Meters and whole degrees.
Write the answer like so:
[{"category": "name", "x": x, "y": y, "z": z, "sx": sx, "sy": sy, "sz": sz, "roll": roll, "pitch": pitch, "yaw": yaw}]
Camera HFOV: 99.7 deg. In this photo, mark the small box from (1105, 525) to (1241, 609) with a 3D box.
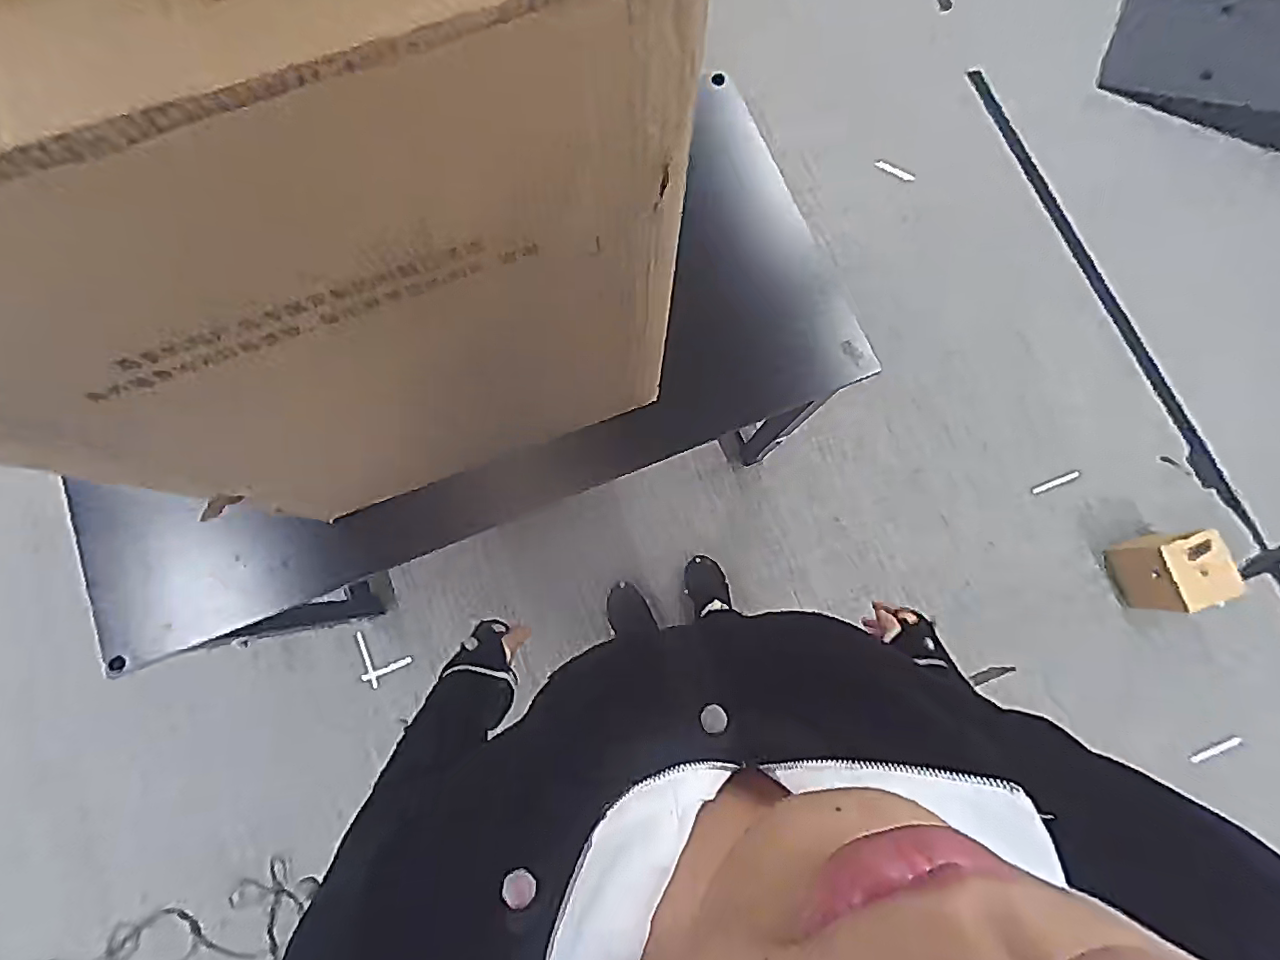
[{"category": "small box", "x": 1.416, "y": 0.234, "z": 1.452, "sx": 0.168, "sy": 0.176, "sz": 0.179, "roll": -18, "pitch": 82, "yaw": -4}]
